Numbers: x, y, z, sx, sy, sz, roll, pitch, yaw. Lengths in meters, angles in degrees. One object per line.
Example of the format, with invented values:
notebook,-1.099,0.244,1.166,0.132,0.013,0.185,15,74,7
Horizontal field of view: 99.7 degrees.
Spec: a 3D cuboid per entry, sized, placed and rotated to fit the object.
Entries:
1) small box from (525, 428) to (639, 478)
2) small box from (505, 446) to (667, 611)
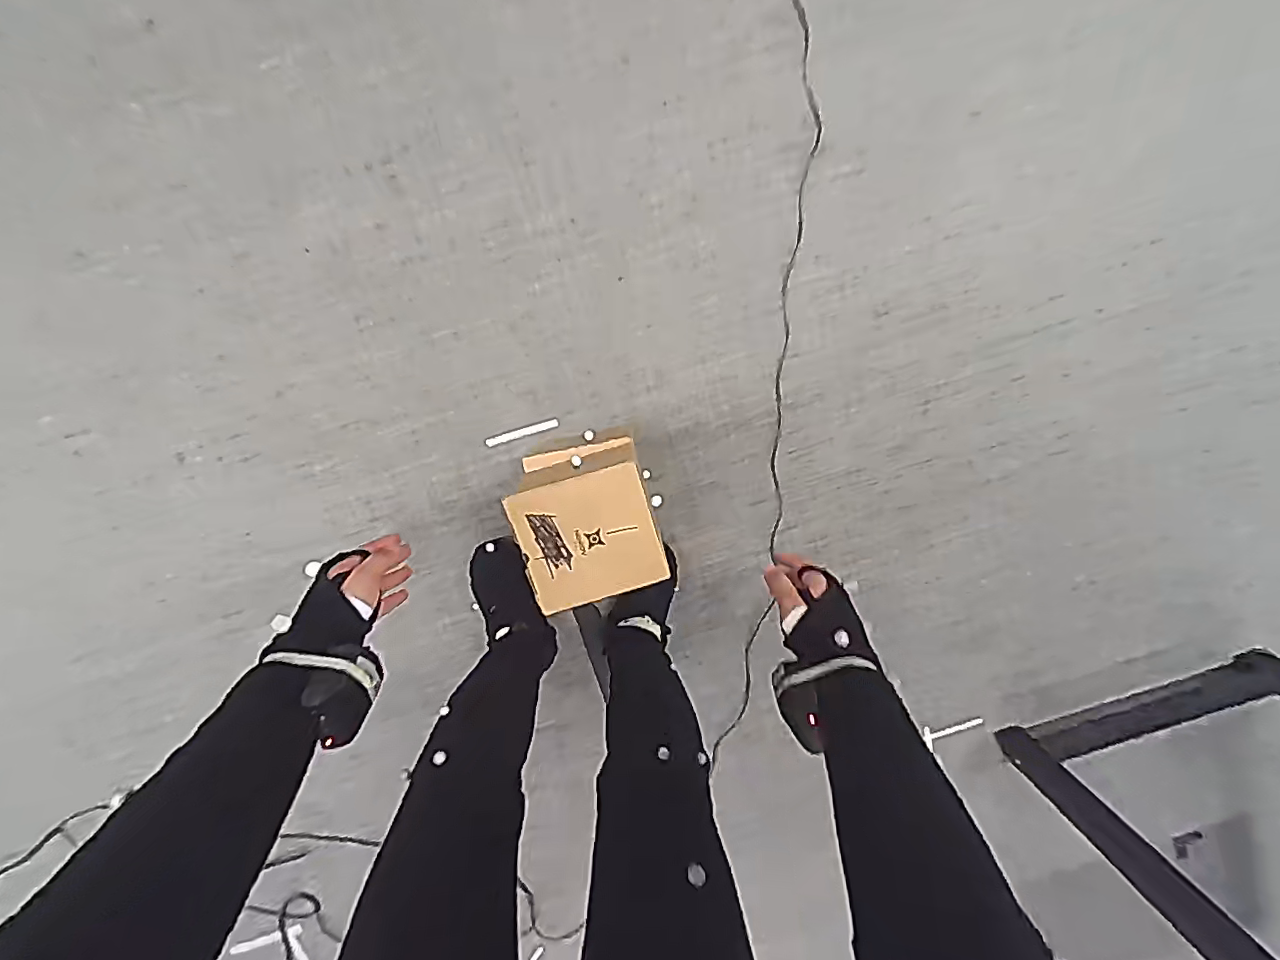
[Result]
small box,-0.086,0.011,0.931,0.179,0.176,0.168,-11,102,-1
small box,-0.070,0.060,0.773,0.179,0.176,0.168,-17,102,1
